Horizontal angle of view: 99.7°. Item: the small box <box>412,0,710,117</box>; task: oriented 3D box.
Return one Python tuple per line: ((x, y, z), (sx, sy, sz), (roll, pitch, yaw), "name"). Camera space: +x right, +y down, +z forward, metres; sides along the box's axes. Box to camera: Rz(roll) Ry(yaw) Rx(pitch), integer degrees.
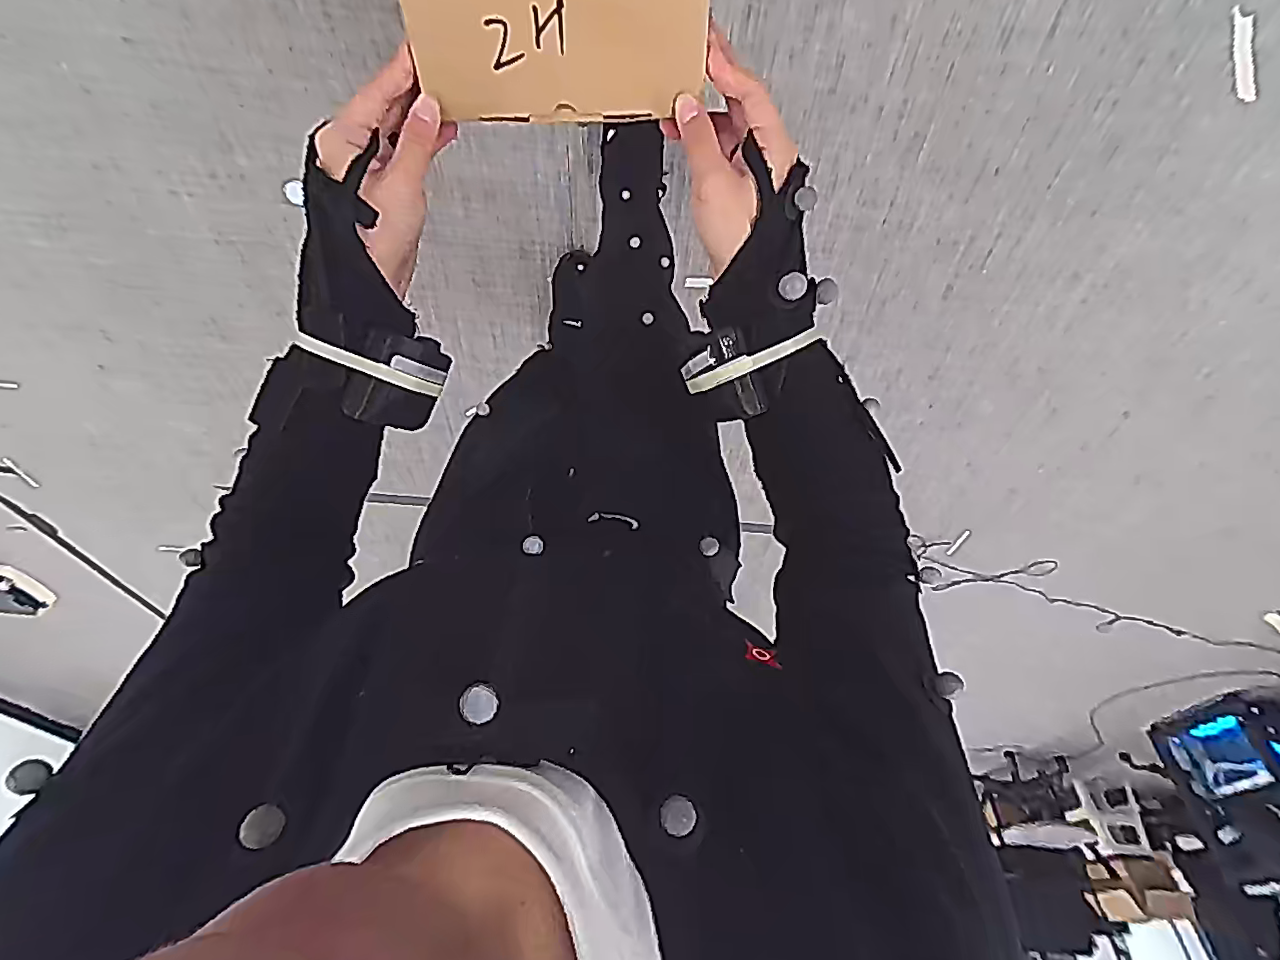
((-0.044, -0.339, 0.334), (0.168, 0.176, 0.179), (0, 131, 1), "small box")
